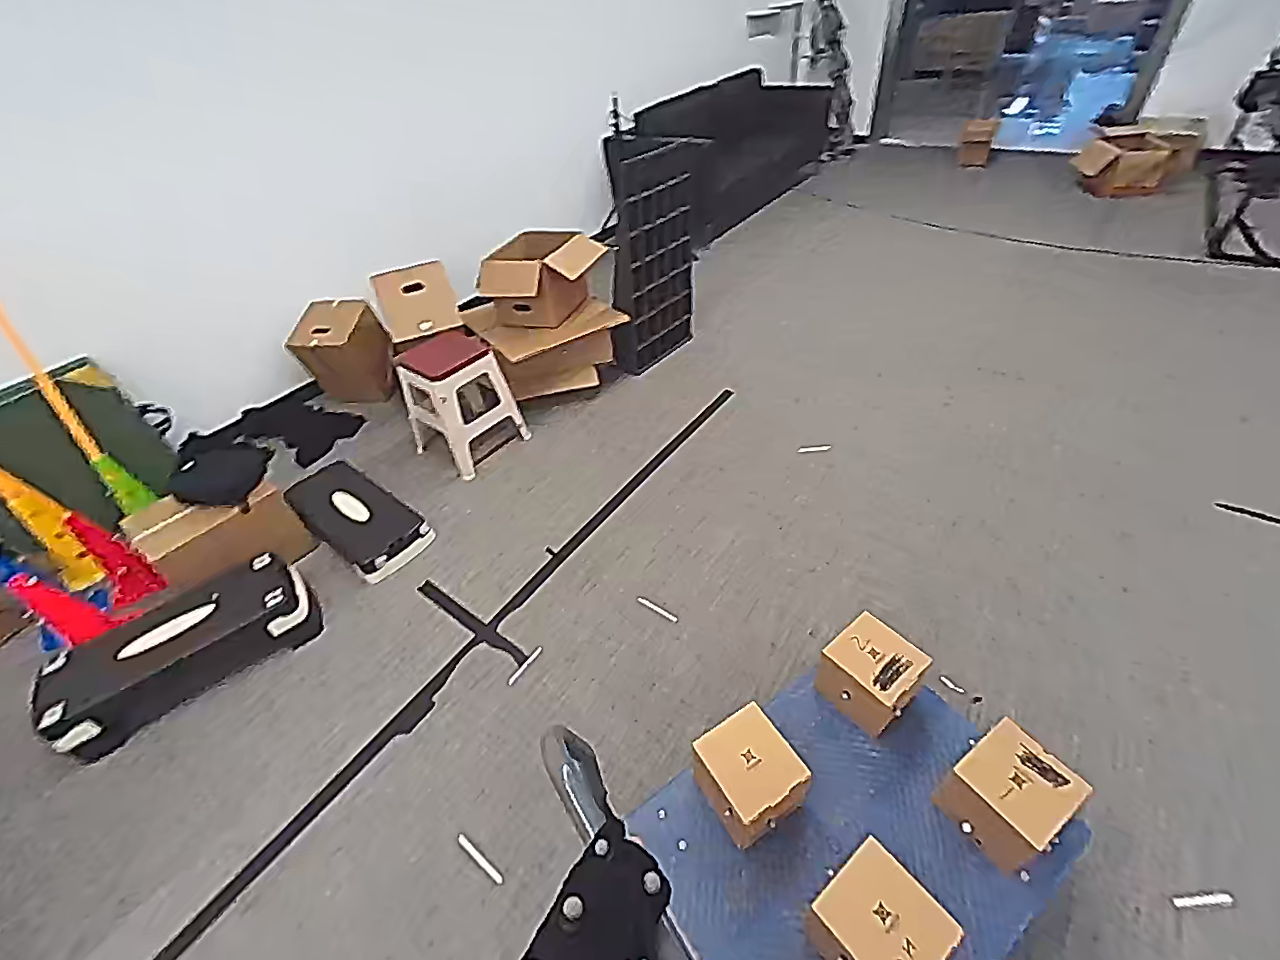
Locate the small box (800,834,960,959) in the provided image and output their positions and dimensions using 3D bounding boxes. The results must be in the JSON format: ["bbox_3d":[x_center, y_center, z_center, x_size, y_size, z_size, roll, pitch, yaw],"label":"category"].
[{"bbox_3d":[0.398,0.768,0.930,0.168,0.176,0.179,-29,47,-24],"label":"small box"}]

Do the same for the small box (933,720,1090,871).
[{"bbox_3d":[0.712,0.618,1.060,0.179,0.176,0.168,-27,46,-20],"label":"small box"}]

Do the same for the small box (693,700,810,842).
[{"bbox_3d":[0.221,0.606,1.126,0.168,0.176,0.179,-24,47,-20],"label":"small box"}]
